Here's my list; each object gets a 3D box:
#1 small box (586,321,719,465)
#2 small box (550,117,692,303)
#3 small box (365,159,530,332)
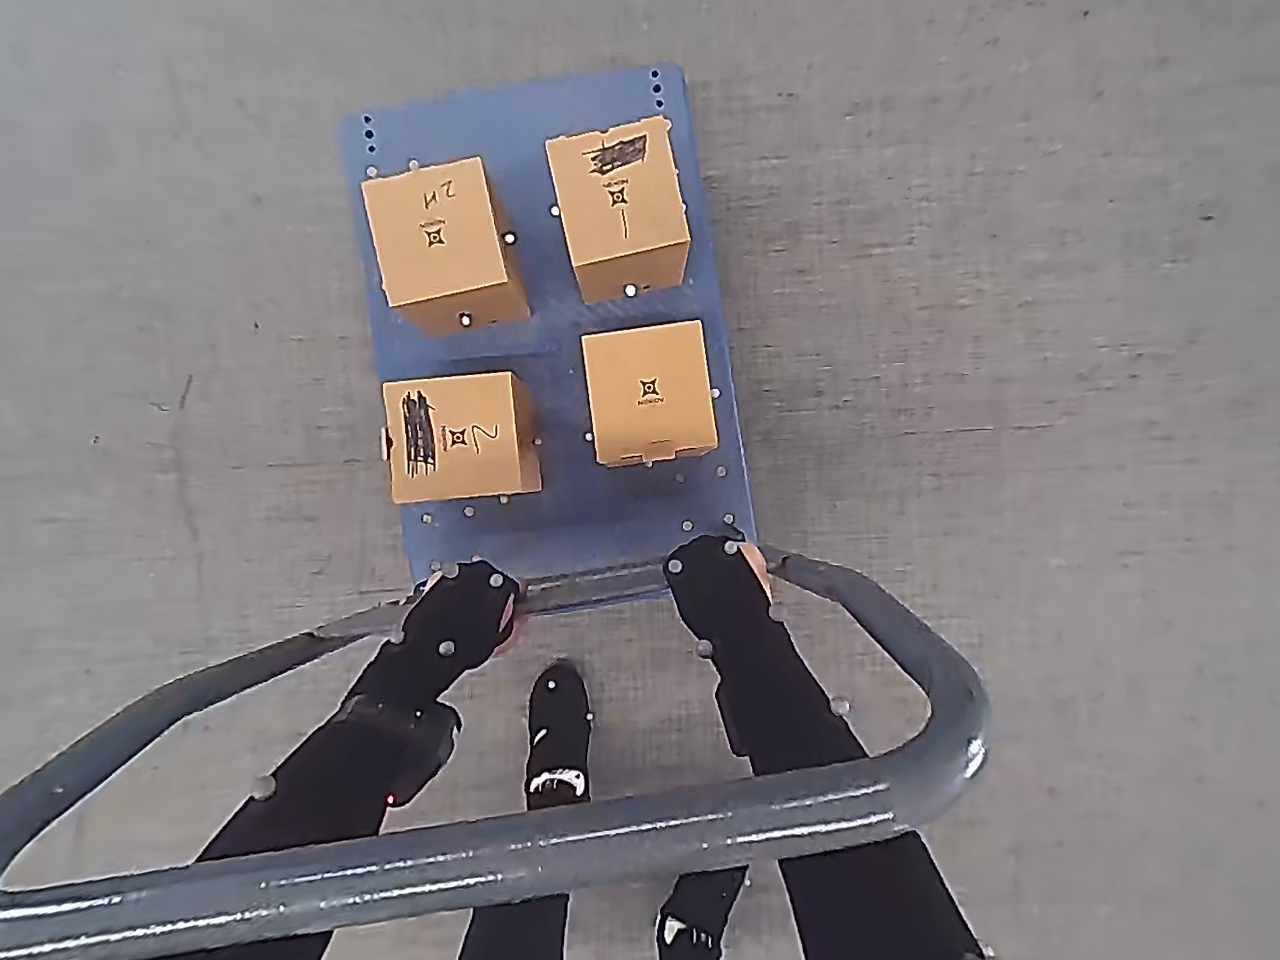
[{"bbox_3d":[0.015,-0.120,0.807,0.168,0.176,0.179,-8,91,0],"label":"small box"},{"bbox_3d":[-0.026,-0.387,0.803,0.168,0.176,0.179,-12,91,1],"label":"small box"},{"bbox_3d":[-0.272,-0.331,0.804,0.168,0.176,0.179,-12,90,-1],"label":"small box"}]
